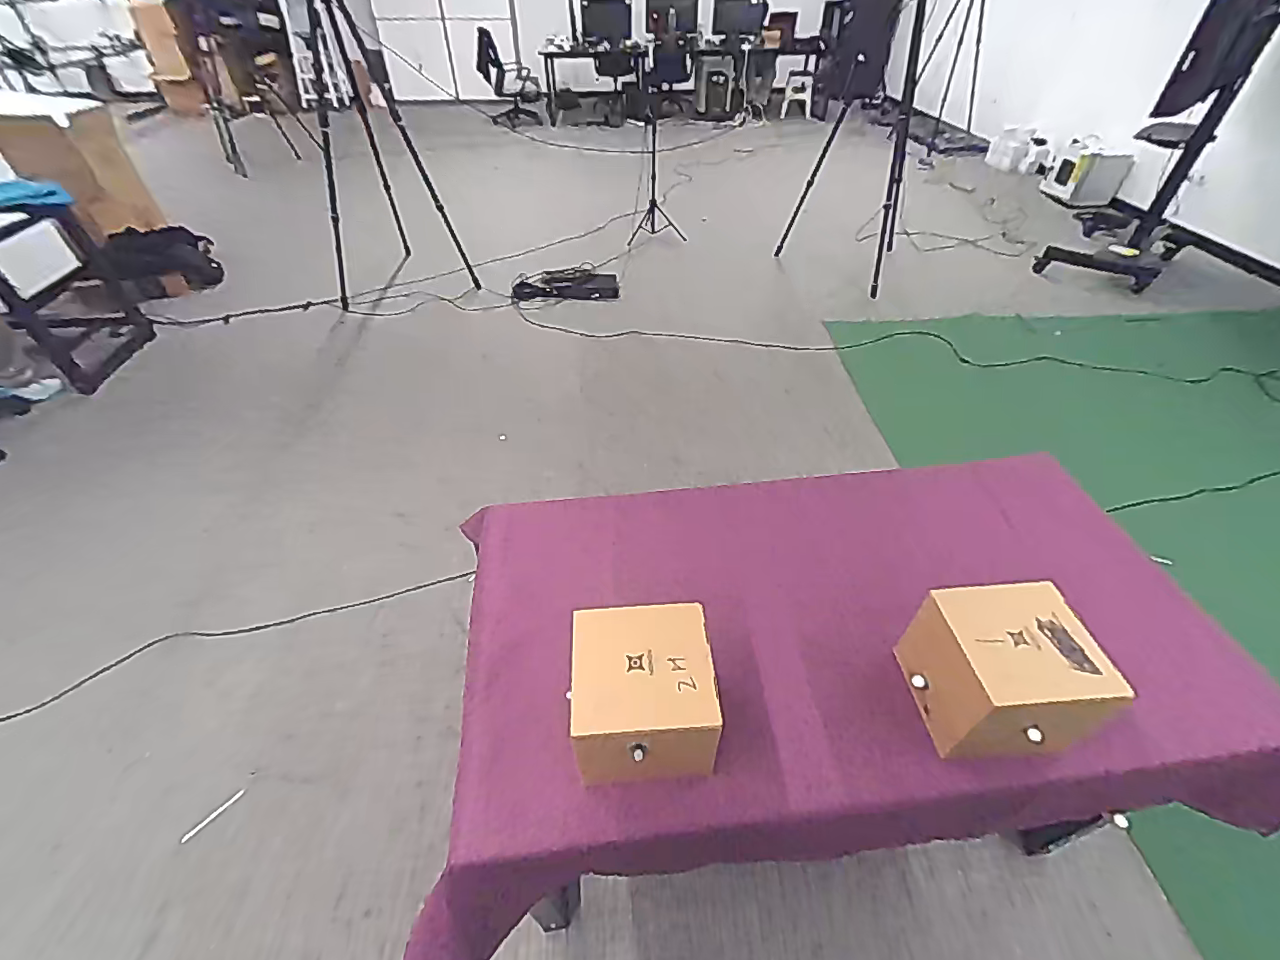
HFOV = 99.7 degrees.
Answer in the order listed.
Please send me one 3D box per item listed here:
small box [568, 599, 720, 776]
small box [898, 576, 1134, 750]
[{"bbox_3d":[0.004,0.278,0.718,0.179,0.176,0.168,-3,44,-2],"label":"small box"},{"bbox_3d":[0.489,0.251,0.739,0.179,0.176,0.168,-4,44,-2],"label":"small box"}]
